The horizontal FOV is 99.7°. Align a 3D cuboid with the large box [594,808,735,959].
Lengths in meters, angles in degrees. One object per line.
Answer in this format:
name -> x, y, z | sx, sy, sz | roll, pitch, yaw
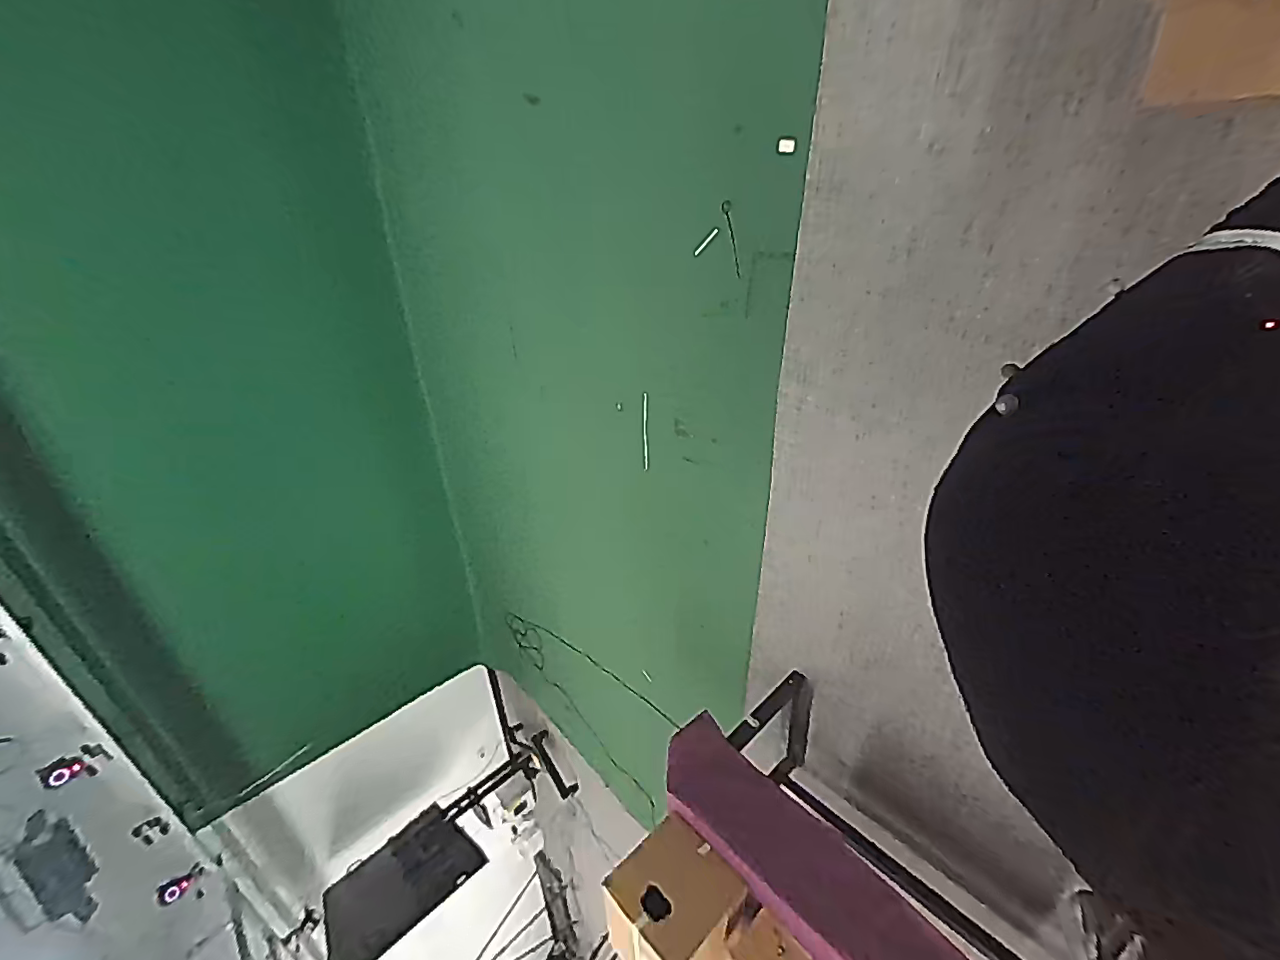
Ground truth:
large box -> 0.076, 1.348, 1.692 | 0.320, 0.320, 0.408 | 27, 129, 39
